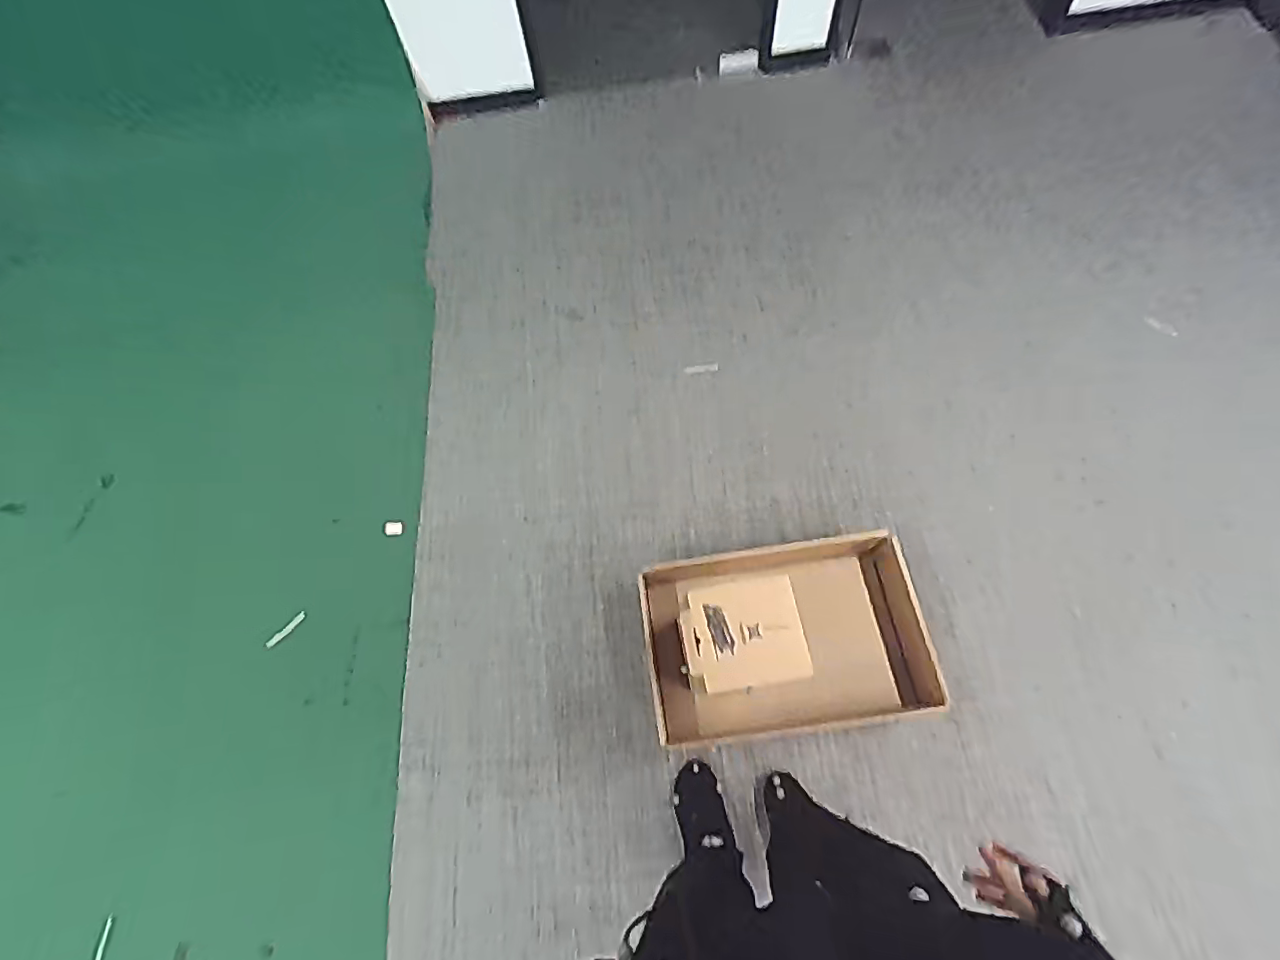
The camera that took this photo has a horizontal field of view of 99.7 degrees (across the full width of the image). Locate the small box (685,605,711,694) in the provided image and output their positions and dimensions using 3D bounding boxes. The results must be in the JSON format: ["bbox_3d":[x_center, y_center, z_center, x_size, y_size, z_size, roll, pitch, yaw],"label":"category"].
[{"bbox_3d":[0.191,0.335,1.097,0.179,0.176,0.168,-10,68,-1],"label":"small box"}]

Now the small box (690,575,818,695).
[{"bbox_3d":[0.186,0.276,0.944,0.179,0.176,0.168,-10,69,-1],"label":"small box"}]
